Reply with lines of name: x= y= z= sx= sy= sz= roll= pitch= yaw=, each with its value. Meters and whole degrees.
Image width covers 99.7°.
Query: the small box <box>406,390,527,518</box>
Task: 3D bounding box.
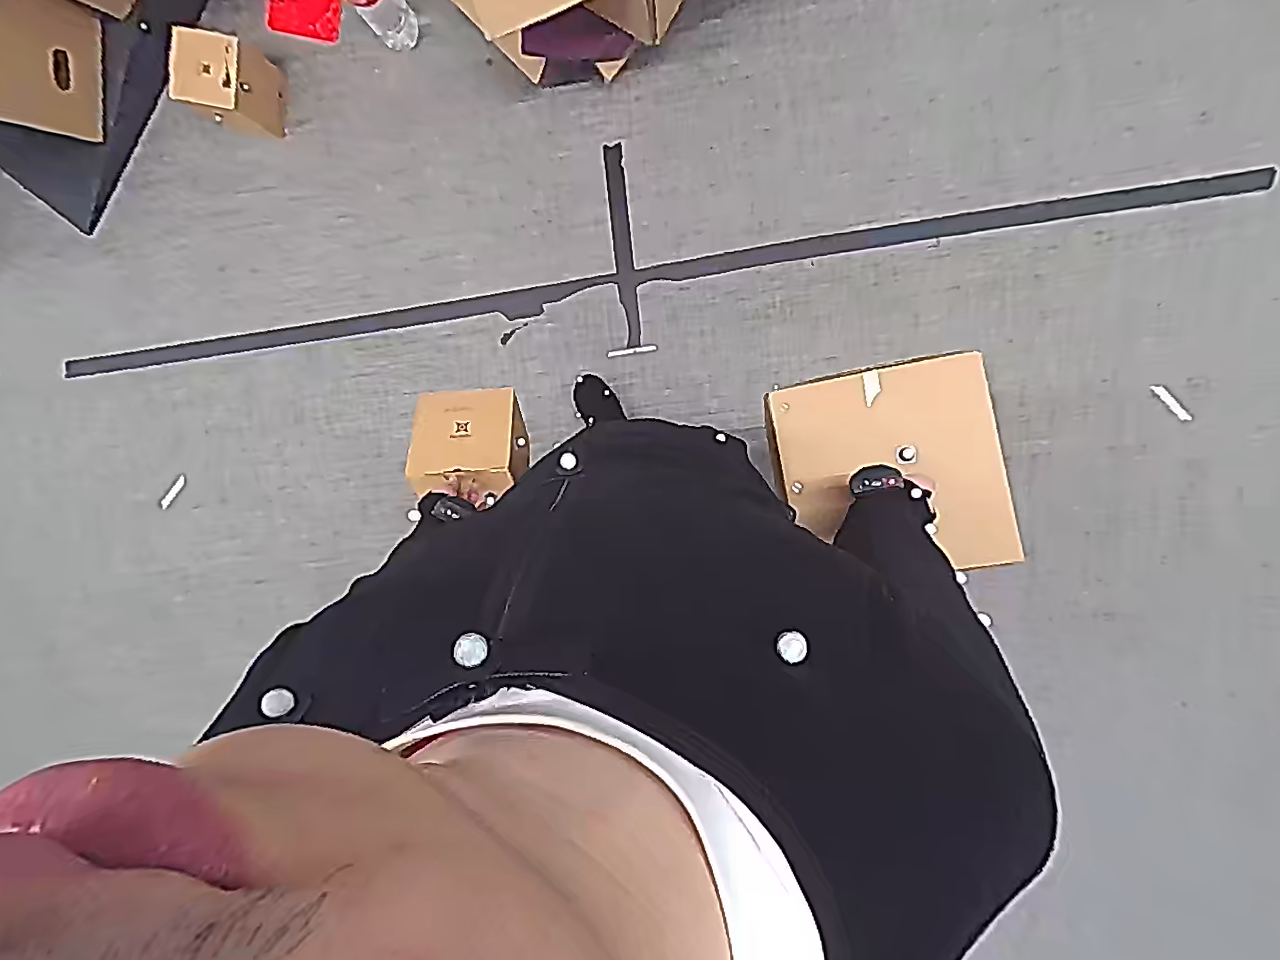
small box: x=-0.301 y=-0.040 z=0.976 sx=0.168 sy=0.176 sz=0.179 roll=-3 pitch=57 yaw=-3
